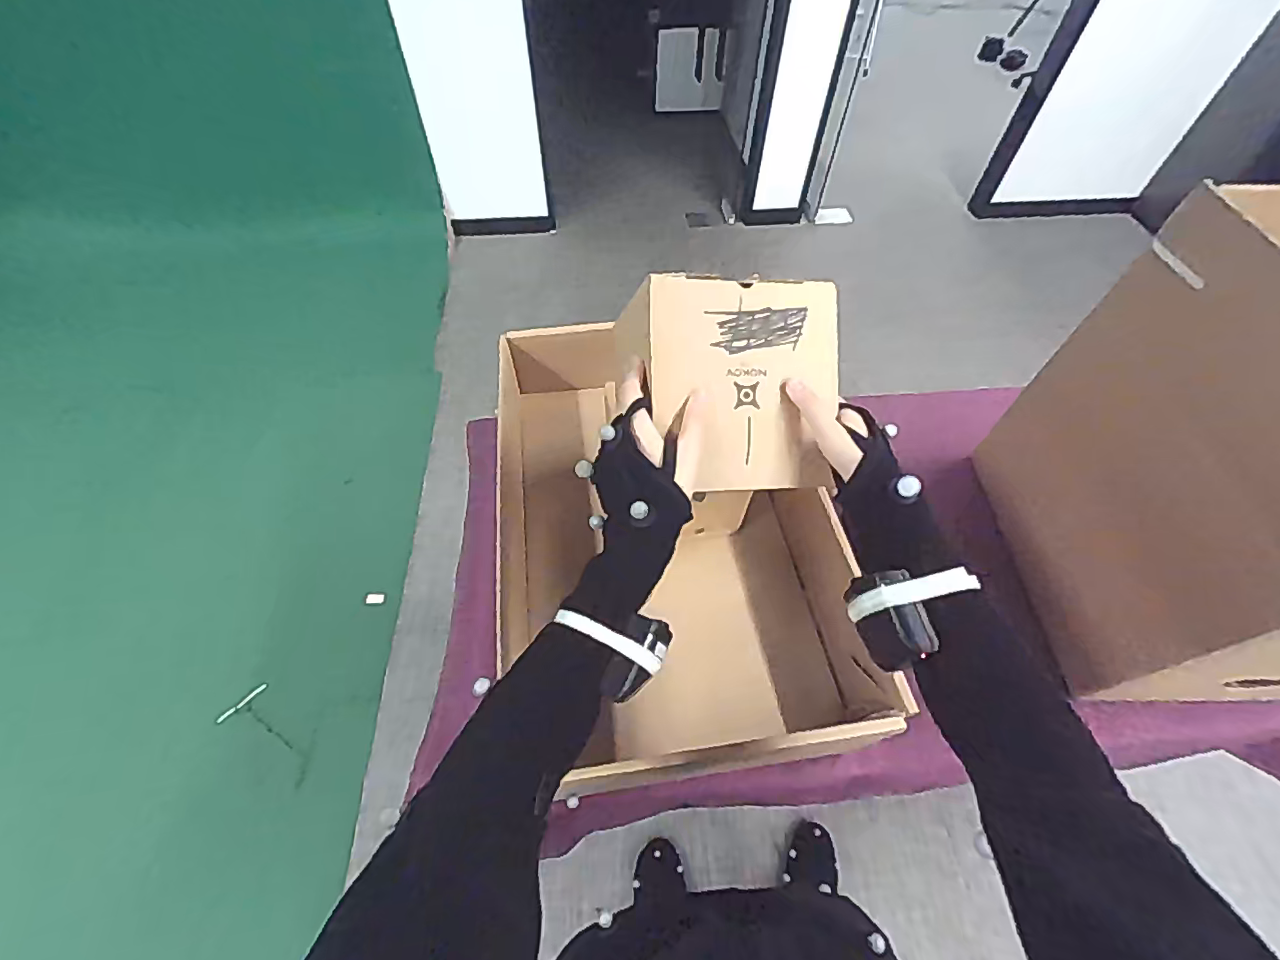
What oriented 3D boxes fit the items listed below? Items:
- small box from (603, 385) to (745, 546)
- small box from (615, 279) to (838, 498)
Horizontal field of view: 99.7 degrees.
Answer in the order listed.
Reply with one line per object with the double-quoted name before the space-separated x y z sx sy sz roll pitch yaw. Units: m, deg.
"small box" 0.046 -0.021 0.747 0.168 0.176 0.179 -9 58 -6
"small box" 0.070 -0.077 0.522 0.168 0.176 0.179 -2 94 -12
